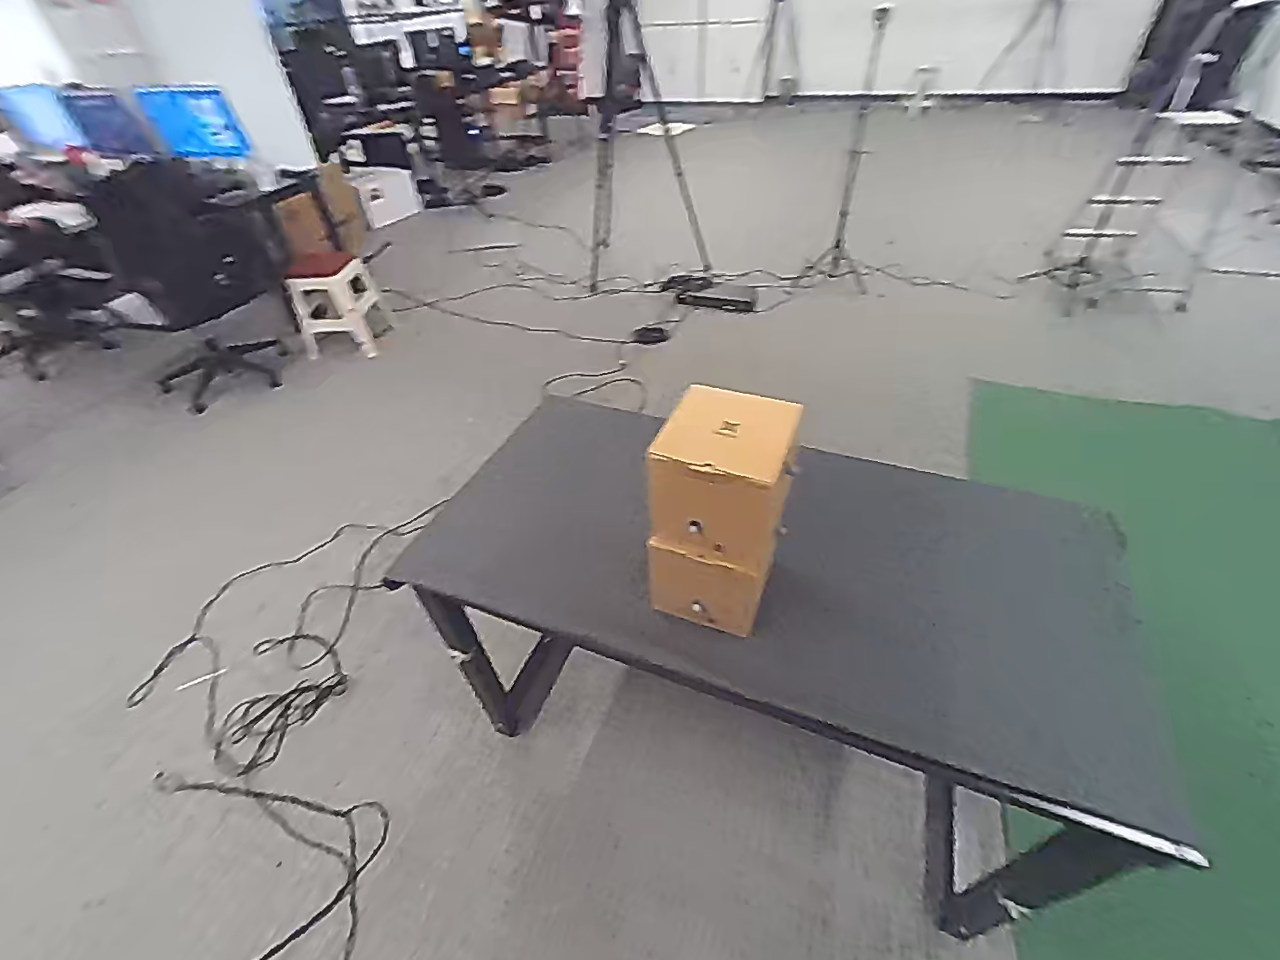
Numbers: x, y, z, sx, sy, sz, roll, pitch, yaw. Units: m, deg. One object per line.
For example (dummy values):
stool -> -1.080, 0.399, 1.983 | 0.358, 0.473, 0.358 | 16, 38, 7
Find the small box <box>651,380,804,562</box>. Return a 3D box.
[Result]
small box -> 0.122, -0.014, 0.773 | 0.168, 0.176, 0.179 | 15, 46, 19

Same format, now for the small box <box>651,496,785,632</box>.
small box -> 0.125, 0.111, 0.877 | 0.168, 0.176, 0.179 | 14, 45, 19
